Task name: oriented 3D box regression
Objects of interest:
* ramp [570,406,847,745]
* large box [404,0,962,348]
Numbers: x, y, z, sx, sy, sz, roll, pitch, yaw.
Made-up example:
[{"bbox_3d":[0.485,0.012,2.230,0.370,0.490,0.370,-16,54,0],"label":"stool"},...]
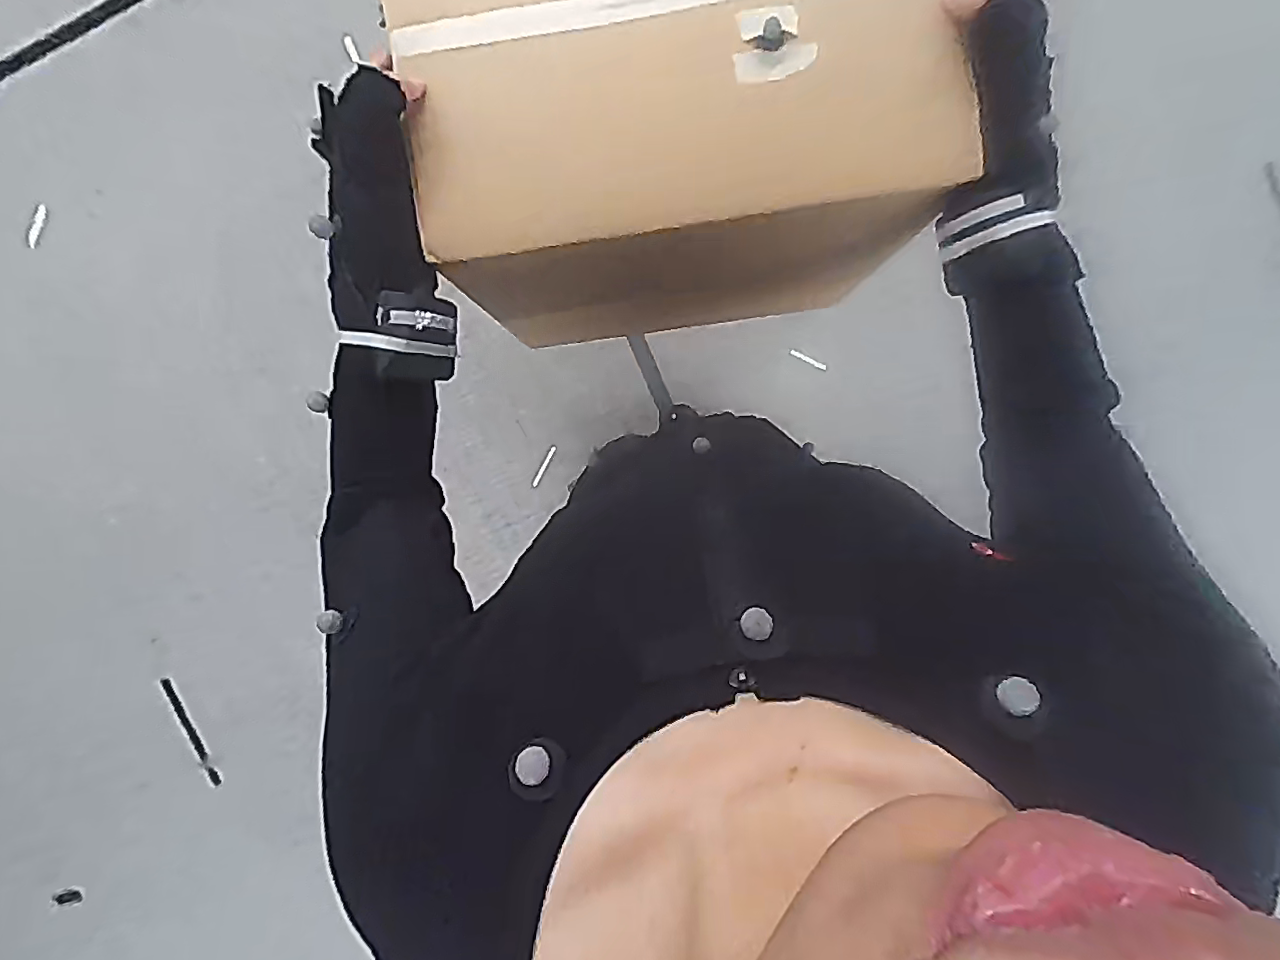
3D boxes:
[{"bbox_3d":[0.235,0.325,1.608,0.509,0.206,0.991,-27,95,3],"label":"ramp"},{"bbox_3d":[0.026,-0.347,0.552,0.408,0.320,0.320,-8,92,2],"label":"large box"}]
